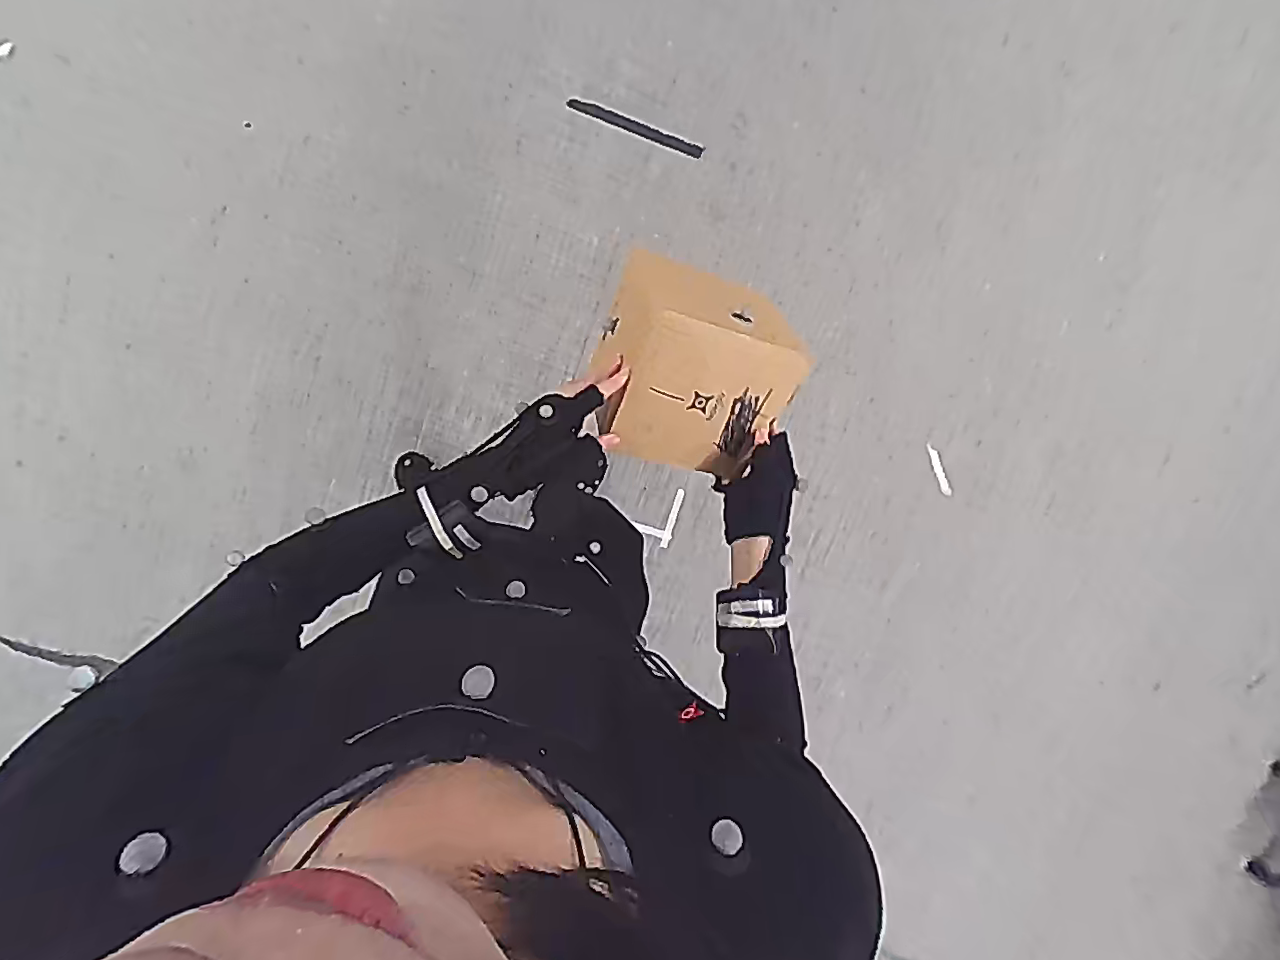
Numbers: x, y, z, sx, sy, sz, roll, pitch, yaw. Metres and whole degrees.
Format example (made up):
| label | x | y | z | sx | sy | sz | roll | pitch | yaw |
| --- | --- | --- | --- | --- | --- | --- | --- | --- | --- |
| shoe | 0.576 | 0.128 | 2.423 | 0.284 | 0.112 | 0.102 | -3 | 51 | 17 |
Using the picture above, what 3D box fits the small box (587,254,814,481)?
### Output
| label | x | y | z | sx | sy | sz | roll | pitch | yaw |
| --- | --- | --- | --- | --- | --- | --- | --- | --- | --- |
| small box | 0.052 | -0.126 | 0.604 | 0.179 | 0.176 | 0.168 | 13 | 127 | -22 |
